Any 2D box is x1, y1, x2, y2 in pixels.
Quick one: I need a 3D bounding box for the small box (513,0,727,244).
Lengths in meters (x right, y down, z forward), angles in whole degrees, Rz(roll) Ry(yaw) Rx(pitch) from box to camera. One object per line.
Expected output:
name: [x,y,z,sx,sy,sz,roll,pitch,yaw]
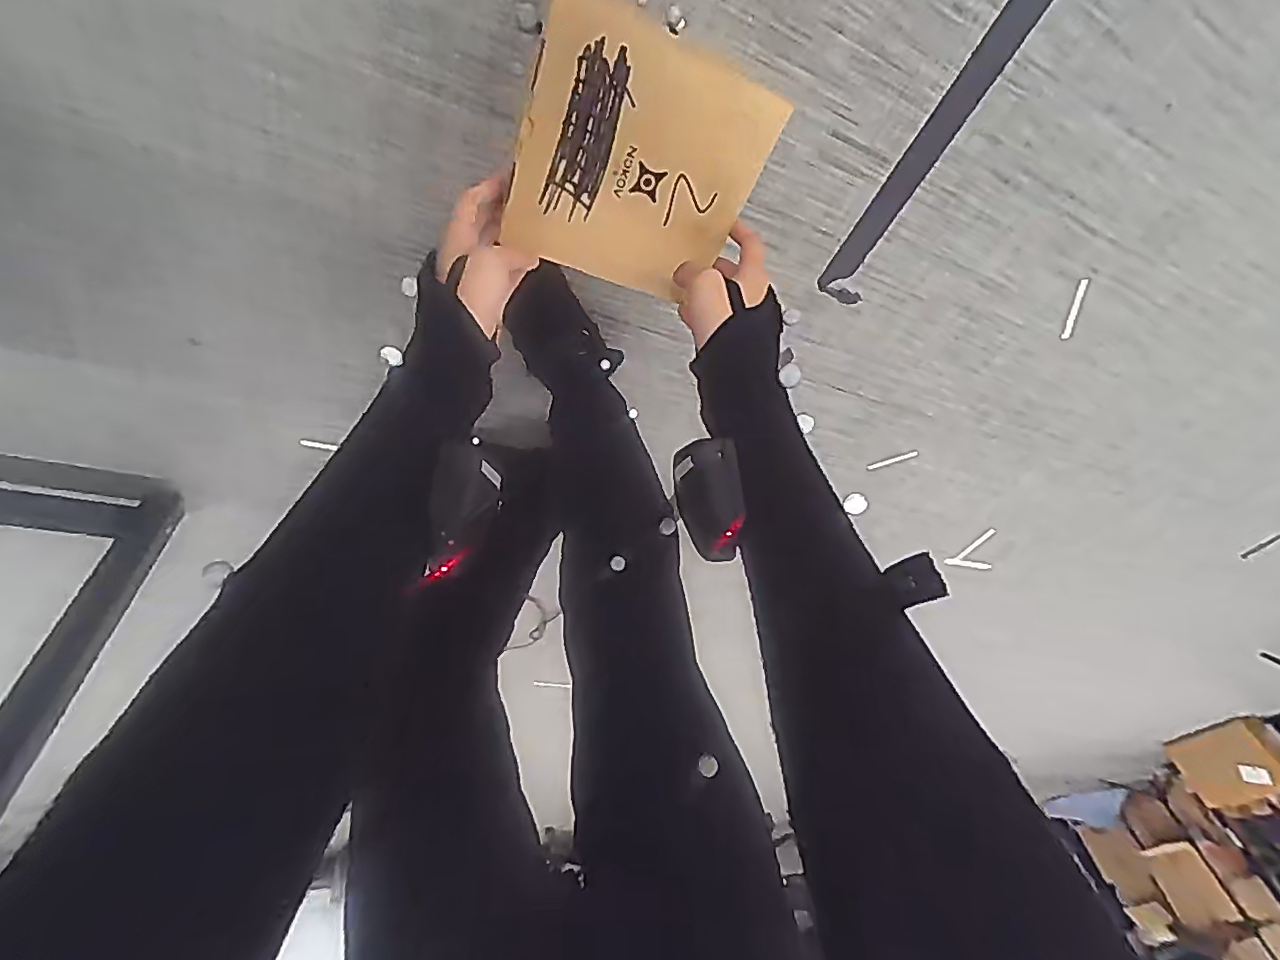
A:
small box: [-0.034,-0.391,0.574,0.168,0.176,0.179,11,133,-19]
